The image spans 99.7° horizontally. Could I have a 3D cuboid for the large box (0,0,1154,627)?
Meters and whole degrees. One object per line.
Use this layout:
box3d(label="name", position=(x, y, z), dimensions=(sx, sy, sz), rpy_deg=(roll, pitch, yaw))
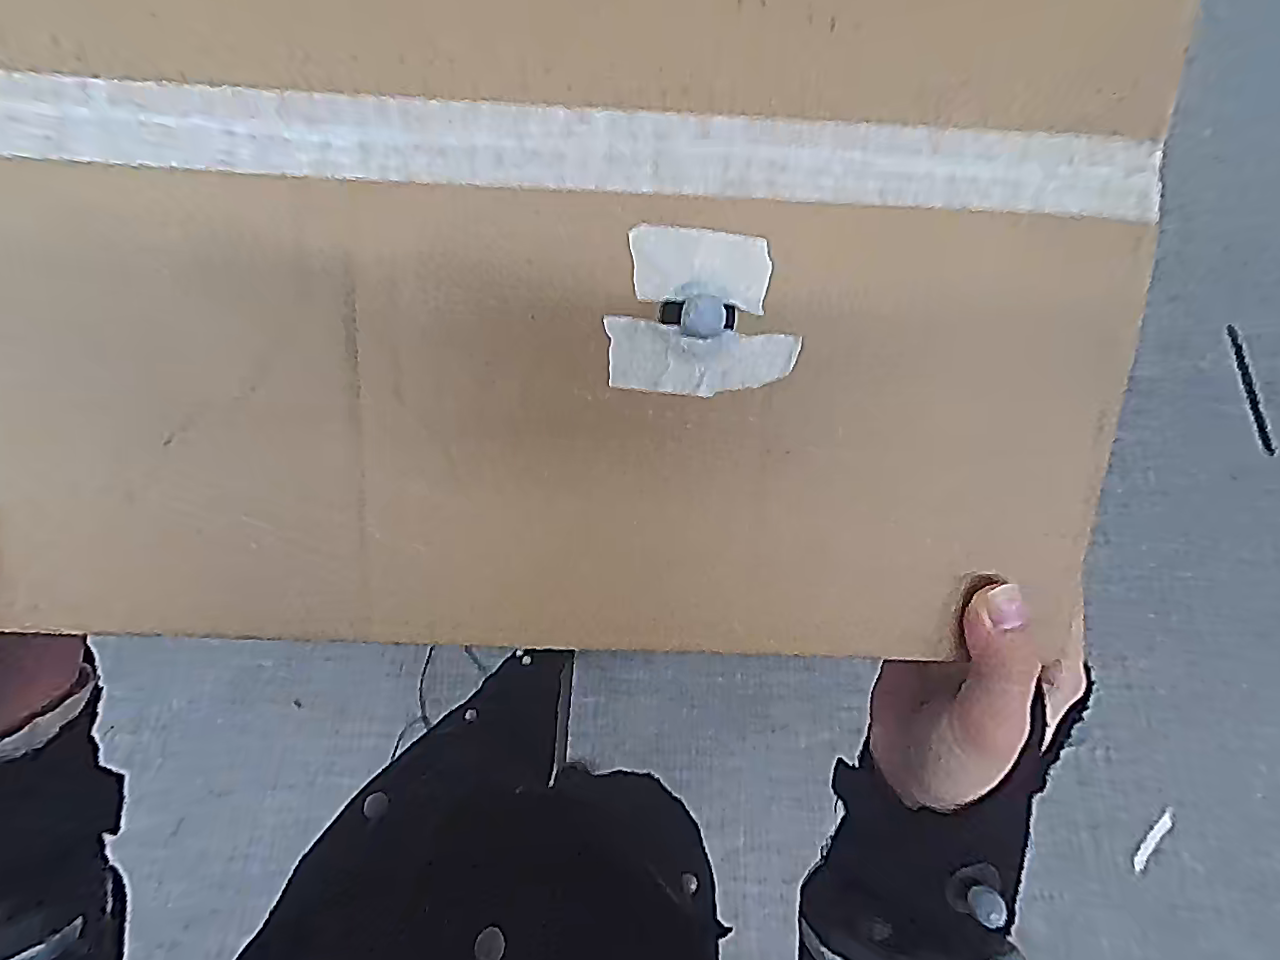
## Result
box3d(label="large box", position=(-0.049, -0.123, 0.319), dimensions=(0.408, 0.320, 0.320), rpy_deg=(2, 100, -3))
